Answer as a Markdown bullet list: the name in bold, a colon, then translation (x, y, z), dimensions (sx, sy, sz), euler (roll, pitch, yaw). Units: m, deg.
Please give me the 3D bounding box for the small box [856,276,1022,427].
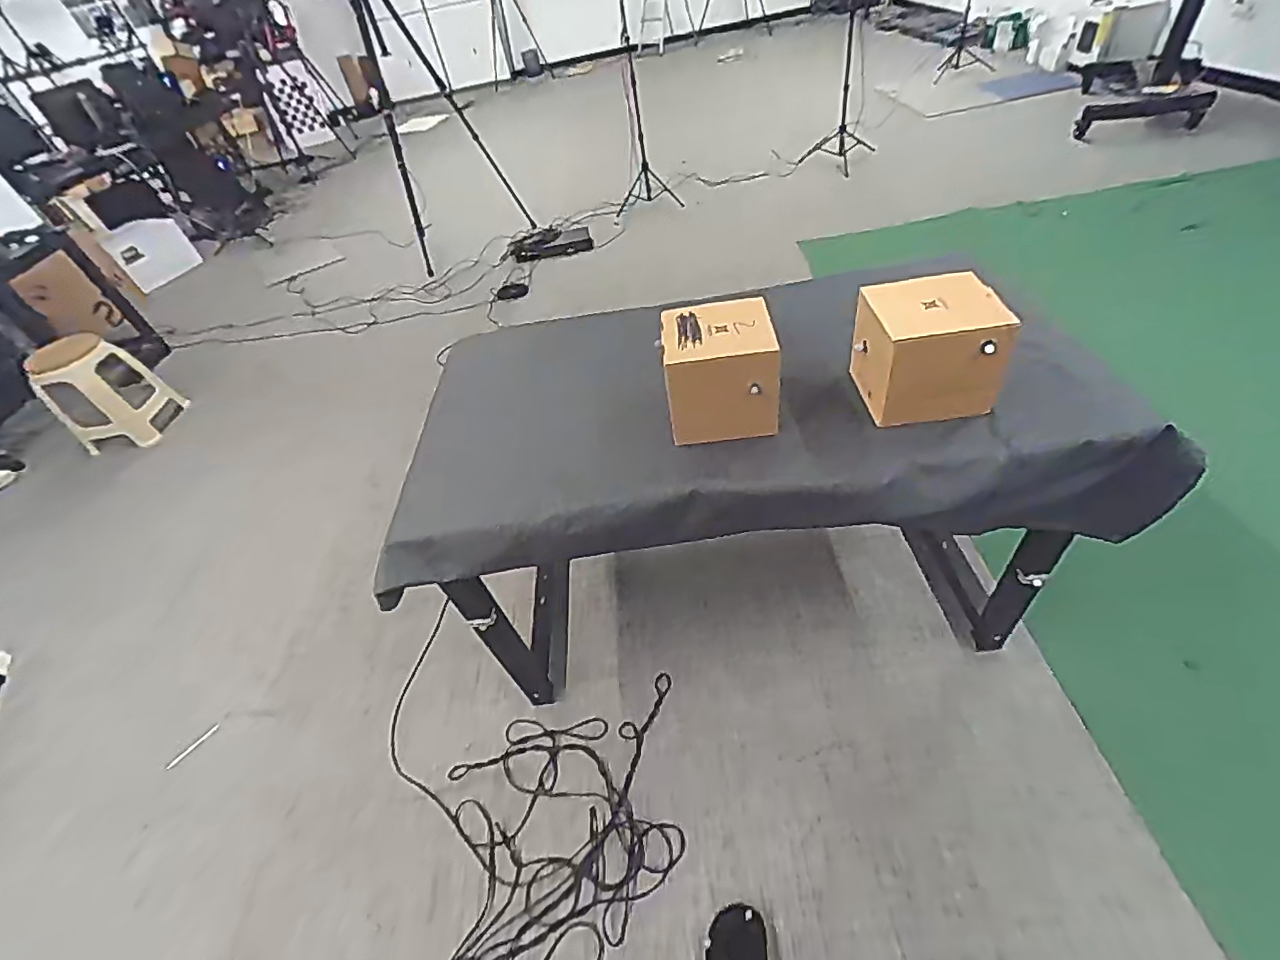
- **small box**: translation (0.458, -0.200, 0.867), dimensions (0.179, 0.176, 0.168), euler (-7, 45, 6)
